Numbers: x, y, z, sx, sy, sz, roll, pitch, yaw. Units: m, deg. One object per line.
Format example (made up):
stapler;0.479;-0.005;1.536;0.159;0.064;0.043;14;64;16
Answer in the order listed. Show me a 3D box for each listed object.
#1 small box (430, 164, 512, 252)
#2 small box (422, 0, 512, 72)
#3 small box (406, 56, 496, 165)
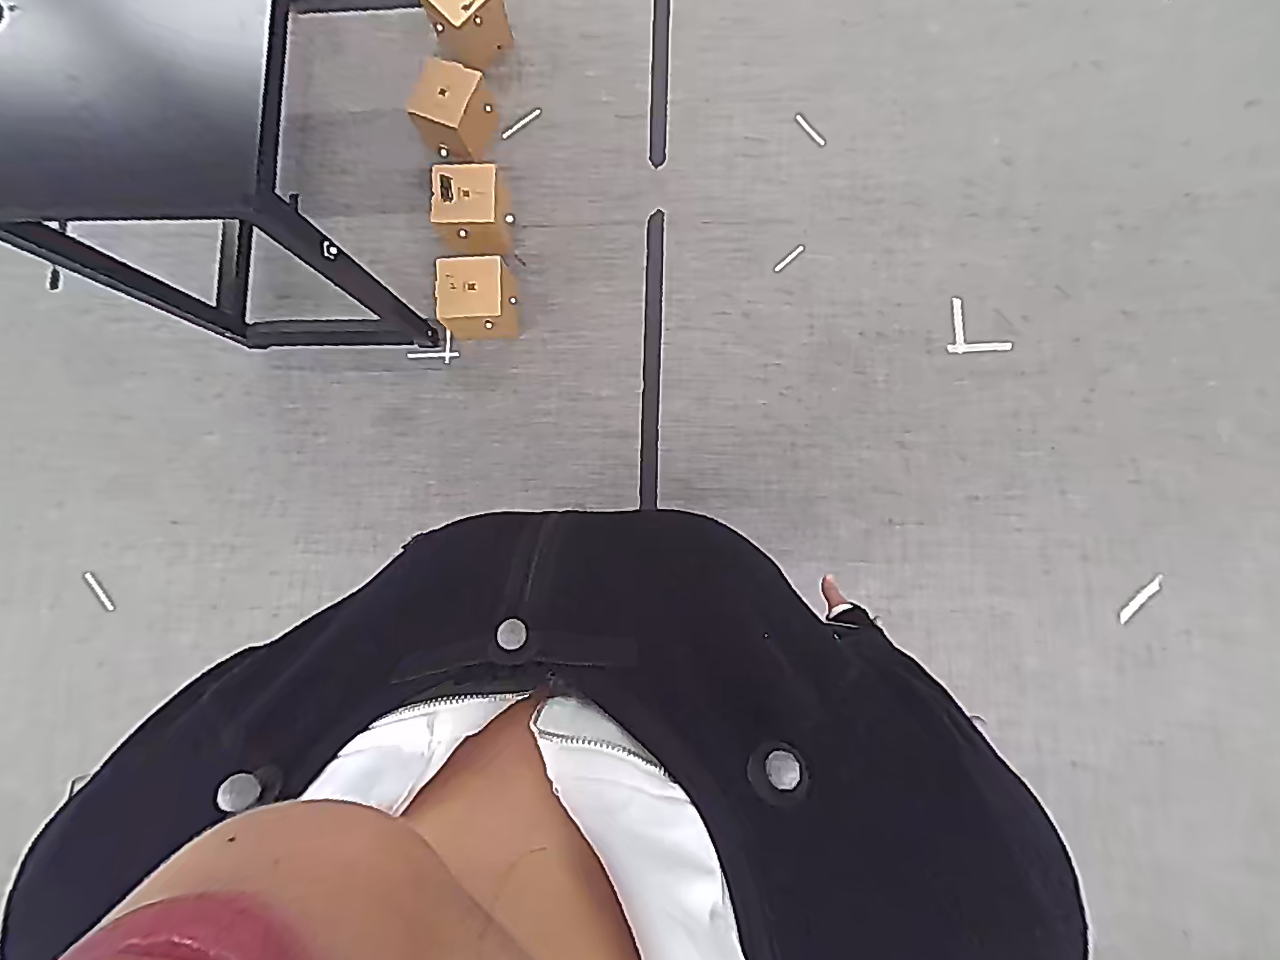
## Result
small box;-0.473;-0.762;1.532;0.179;0.176;0.168;0;86;1
small box;-0.507;-1.358;1.580;0.179;0.176;0.168;44;89;5
small box;-0.534;-1.056;1.560;0.168;0.176;0.179;22;88;5
